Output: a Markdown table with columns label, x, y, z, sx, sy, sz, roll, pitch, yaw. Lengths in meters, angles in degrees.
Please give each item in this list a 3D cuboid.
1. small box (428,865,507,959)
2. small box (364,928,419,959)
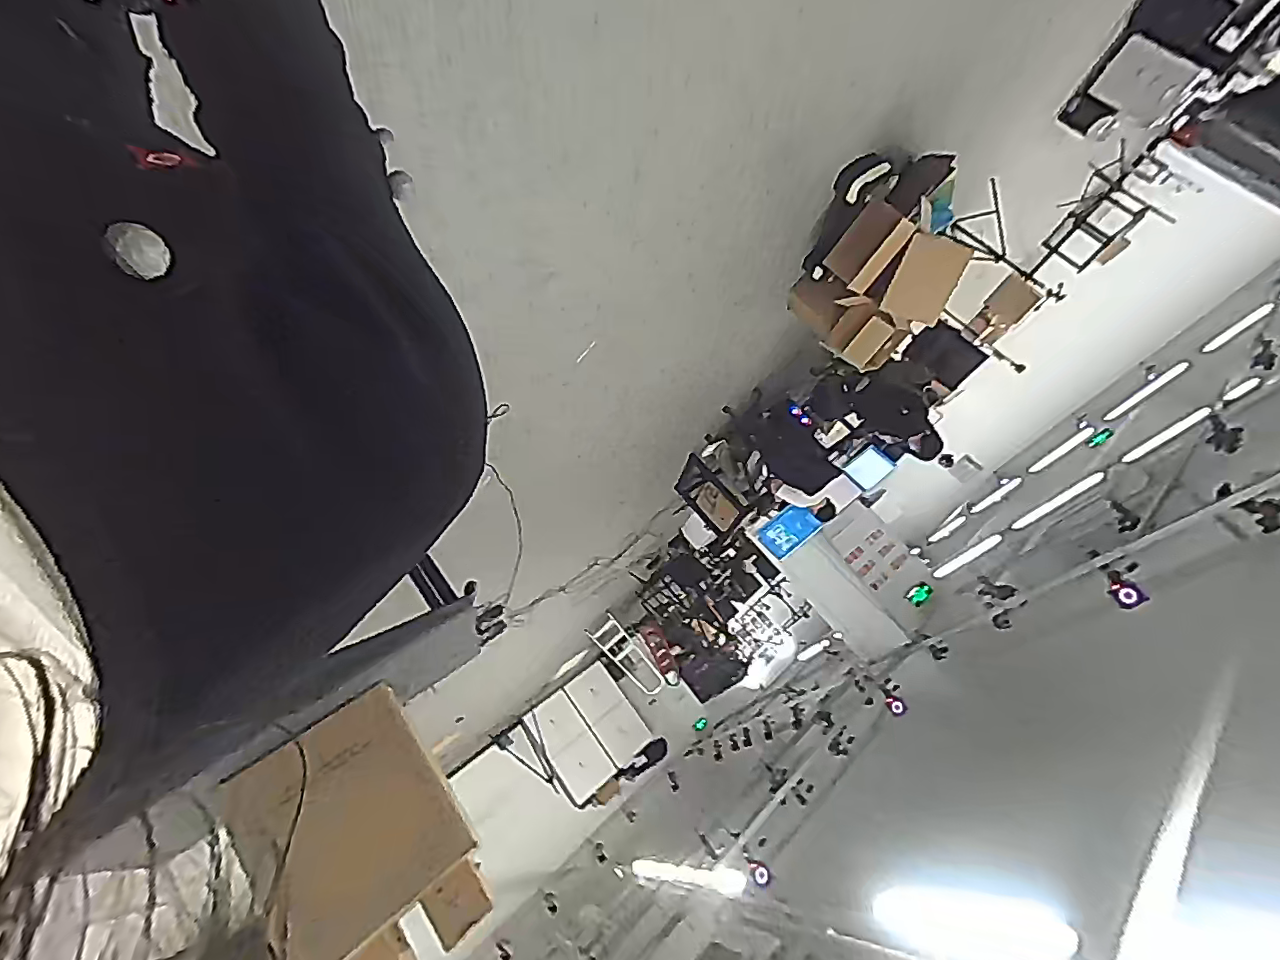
| label | x | y | z | sx | sy | sz | roll | pitch | yaw |
| --- | --- | --- | --- | --- | --- | --- | --- | --- | --- |
| small box | -0.536 | 1.335 | 1.679 | 0.168 | 0.176 | 0.179 | -34 | 157 | -27 |
| small box | -0.743 | 1.456 | 1.563 | 0.179 | 0.176 | 0.168 | -35 | 159 | -26 |
